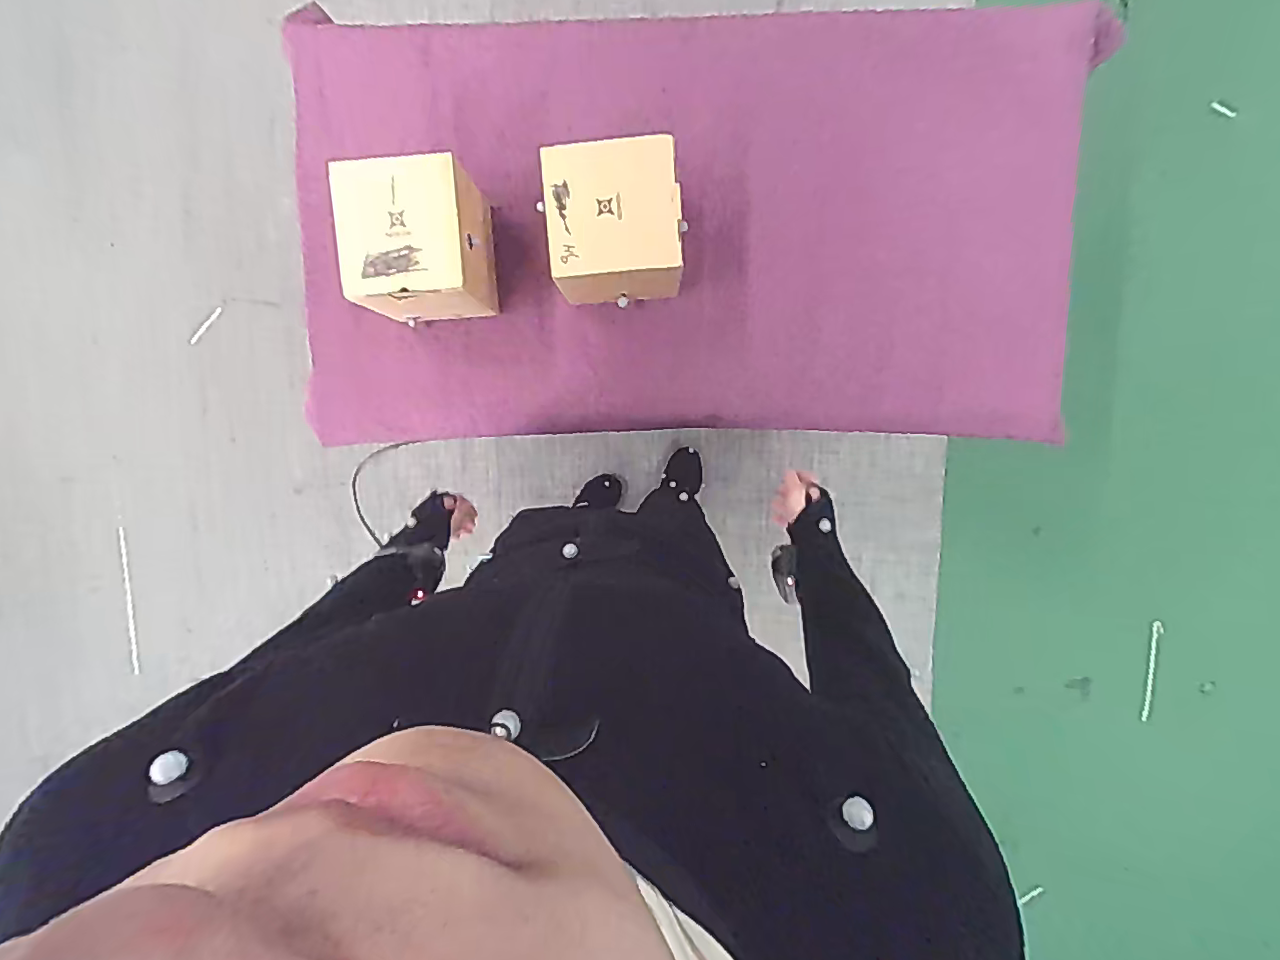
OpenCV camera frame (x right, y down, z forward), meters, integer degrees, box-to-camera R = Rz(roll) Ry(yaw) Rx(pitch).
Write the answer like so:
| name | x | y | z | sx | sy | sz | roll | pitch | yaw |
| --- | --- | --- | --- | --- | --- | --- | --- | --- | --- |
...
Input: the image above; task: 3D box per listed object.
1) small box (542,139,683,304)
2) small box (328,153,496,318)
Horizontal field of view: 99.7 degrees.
| name | x | y | z | sx | sy | sz | roll | pitch | yaw |
| --- | --- | --- | --- | --- | --- | --- | --- | --- | --- |
| small box | -0.035 | -0.360 | 0.780 | 0.179 | 0.176 | 0.168 | -4 | 95 | 1 |
| small box | -0.317 | -0.339 | 0.787 | 0.168 | 0.176 | 0.179 | -4 | 95 | 1 |
